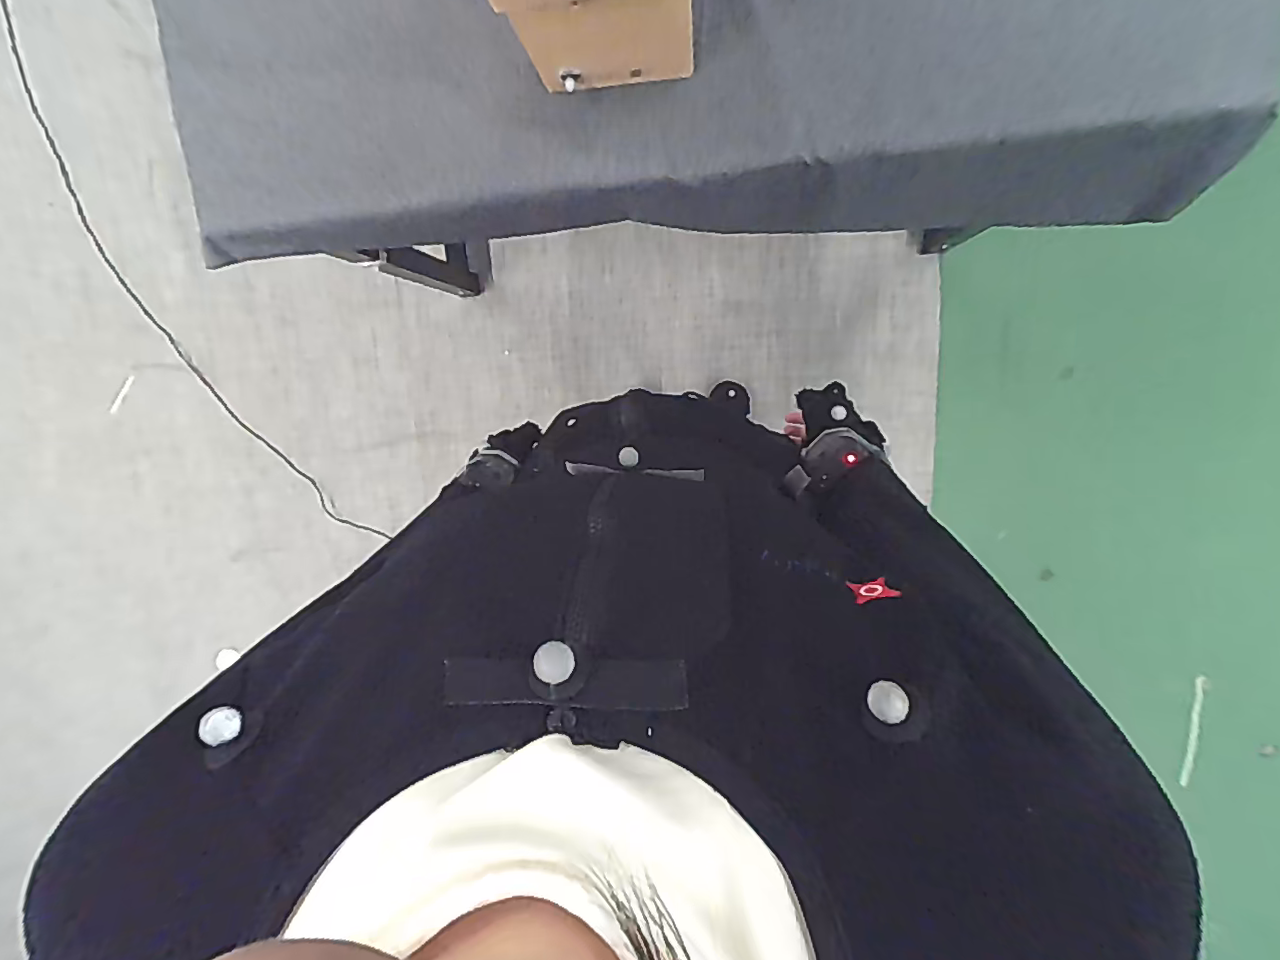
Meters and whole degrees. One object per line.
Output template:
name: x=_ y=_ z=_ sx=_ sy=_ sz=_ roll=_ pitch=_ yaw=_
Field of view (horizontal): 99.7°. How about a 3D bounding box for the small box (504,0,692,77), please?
small box: x=-0.035 y=-0.521 z=0.515 sx=0.168 sy=0.176 sz=0.179 roll=-1 pitch=100 yaw=7
